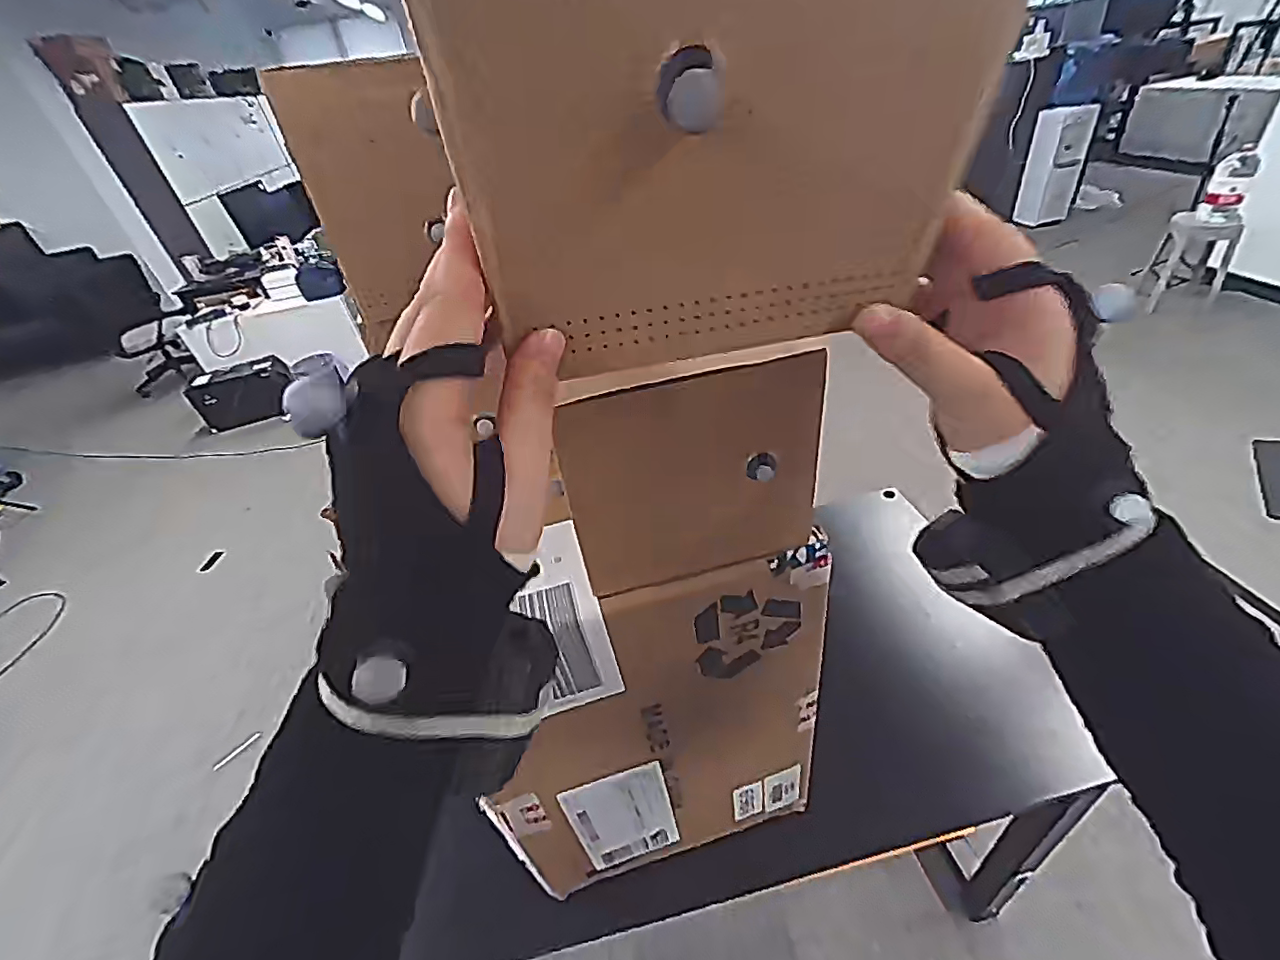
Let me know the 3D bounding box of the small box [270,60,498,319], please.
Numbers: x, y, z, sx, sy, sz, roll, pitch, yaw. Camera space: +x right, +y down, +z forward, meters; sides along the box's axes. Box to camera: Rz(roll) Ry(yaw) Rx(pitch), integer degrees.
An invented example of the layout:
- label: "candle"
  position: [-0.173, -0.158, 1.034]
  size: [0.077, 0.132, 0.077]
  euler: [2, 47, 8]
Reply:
- label: "small box"
  position: [-0.182, -0.258, 0.481]
  size: [0.168, 0.176, 0.179]
  euler: [-17, 36, -10]

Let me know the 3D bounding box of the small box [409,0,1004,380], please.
- label: "small box"
  position: [0.015, -0.161, 0.217]
  size: [0.179, 0.176, 0.168]
  euler: [-12, 54, -5]

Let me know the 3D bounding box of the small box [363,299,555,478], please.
- label: "small box"
  position: [-0.171, -0.128, 0.583]
  size: [0.168, 0.176, 0.179]
  euler: [-15, 37, -9]

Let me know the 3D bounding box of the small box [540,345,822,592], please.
- label: "small box"
  position: [0.022, -0.039, 0.433]
  size: [0.179, 0.176, 0.168]
  euler: [-14, 37, -6]
